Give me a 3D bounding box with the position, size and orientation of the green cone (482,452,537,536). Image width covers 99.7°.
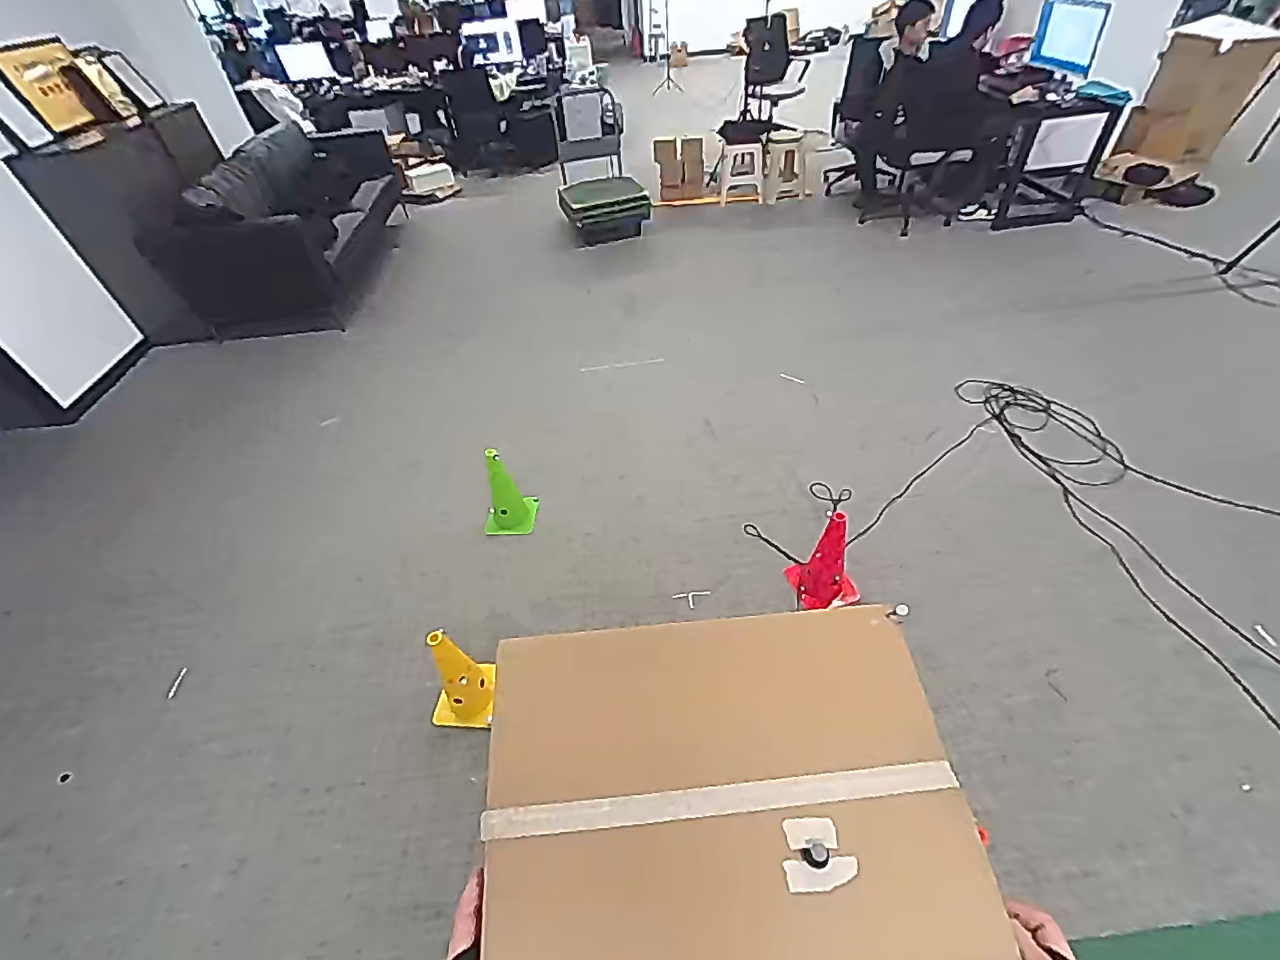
[{"bbox_3d":[-0.549,0.030,2.110,0.200,0.368,0.202,-2,46,4],"label":"green cone"}]

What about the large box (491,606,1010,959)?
[{"bbox_3d":[0.071,0.361,0.599,0.408,0.320,0.320,-5,57,-3],"label":"large box"}]
